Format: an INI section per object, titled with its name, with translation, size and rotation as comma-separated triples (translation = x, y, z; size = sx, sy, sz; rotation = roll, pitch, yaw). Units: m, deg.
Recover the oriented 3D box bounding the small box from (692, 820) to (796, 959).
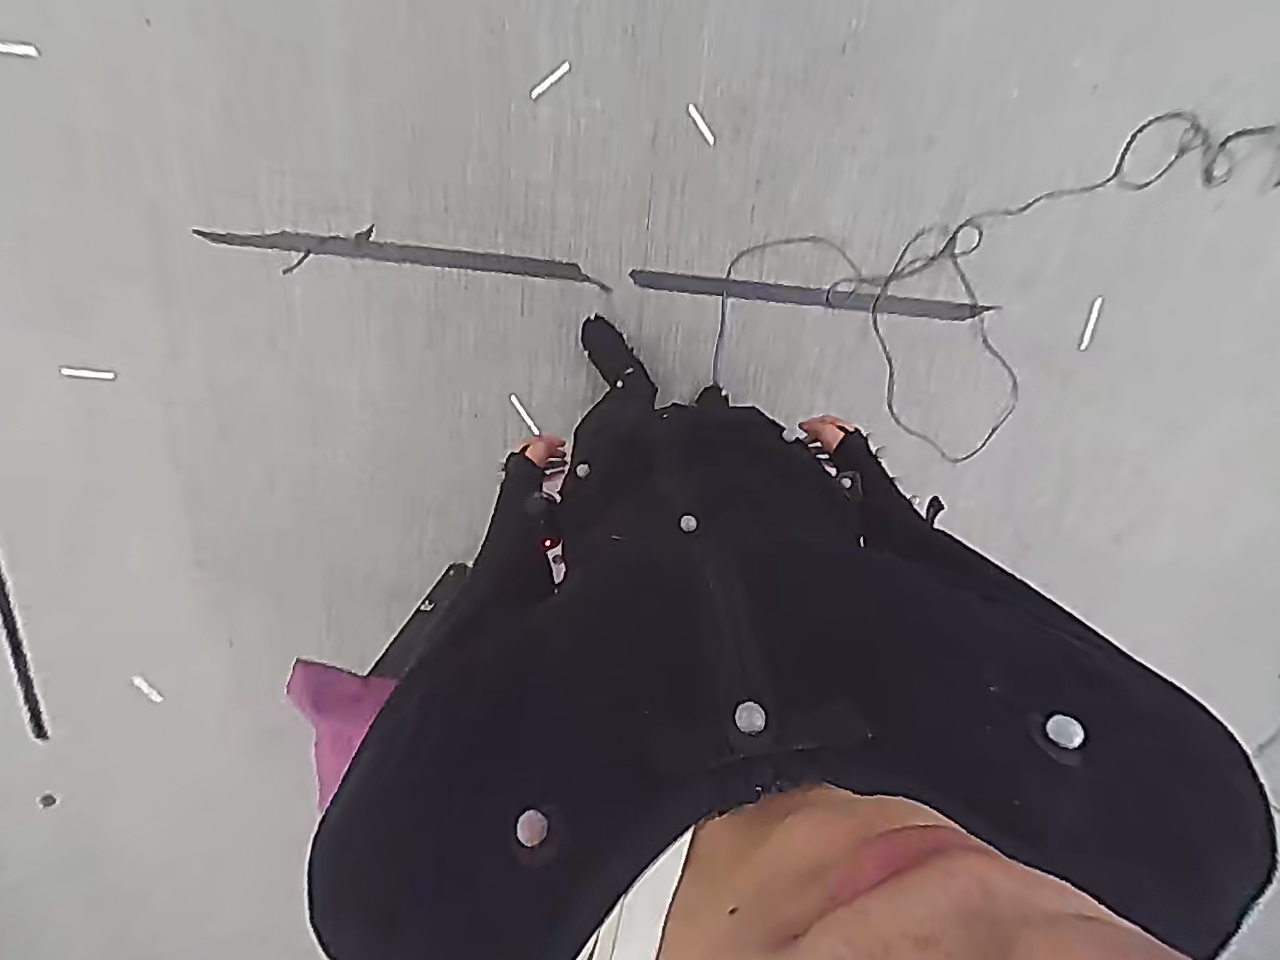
[small box]
translation = 0.194, 0.779, 1.026
size = 0.179, 0.176, 0.168
rotation = -2, 106, 2
